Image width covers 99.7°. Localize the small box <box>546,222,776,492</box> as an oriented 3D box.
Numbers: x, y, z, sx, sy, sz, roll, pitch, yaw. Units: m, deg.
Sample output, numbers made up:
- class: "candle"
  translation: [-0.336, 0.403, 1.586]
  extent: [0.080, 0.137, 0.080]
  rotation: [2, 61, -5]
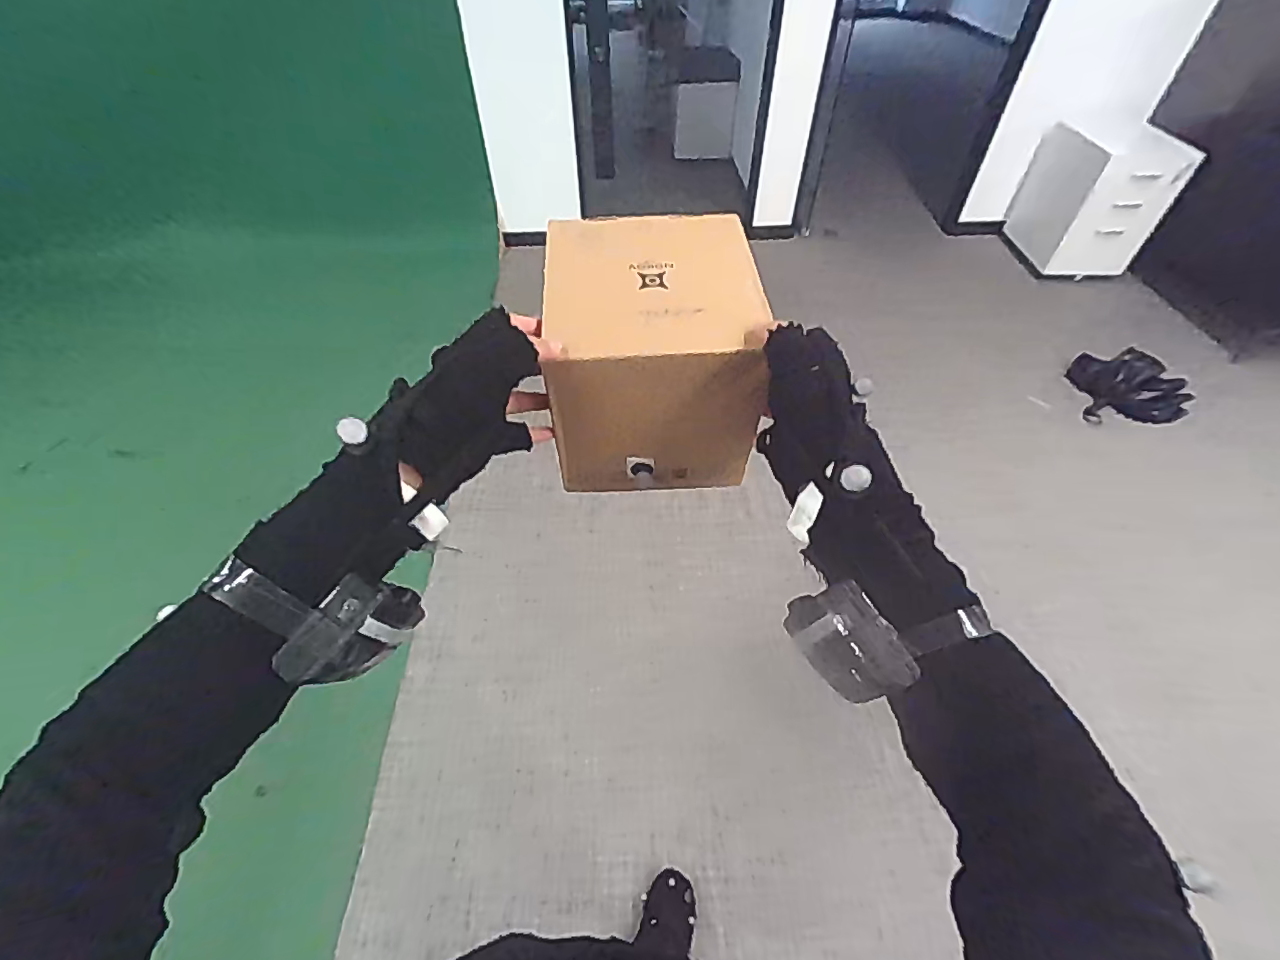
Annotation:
- class: "small box"
  translation: [0.010, -0.108, 0.491]
  extent: [0.168, 0.176, 0.179]
  rotation: [-3, 54, -2]
